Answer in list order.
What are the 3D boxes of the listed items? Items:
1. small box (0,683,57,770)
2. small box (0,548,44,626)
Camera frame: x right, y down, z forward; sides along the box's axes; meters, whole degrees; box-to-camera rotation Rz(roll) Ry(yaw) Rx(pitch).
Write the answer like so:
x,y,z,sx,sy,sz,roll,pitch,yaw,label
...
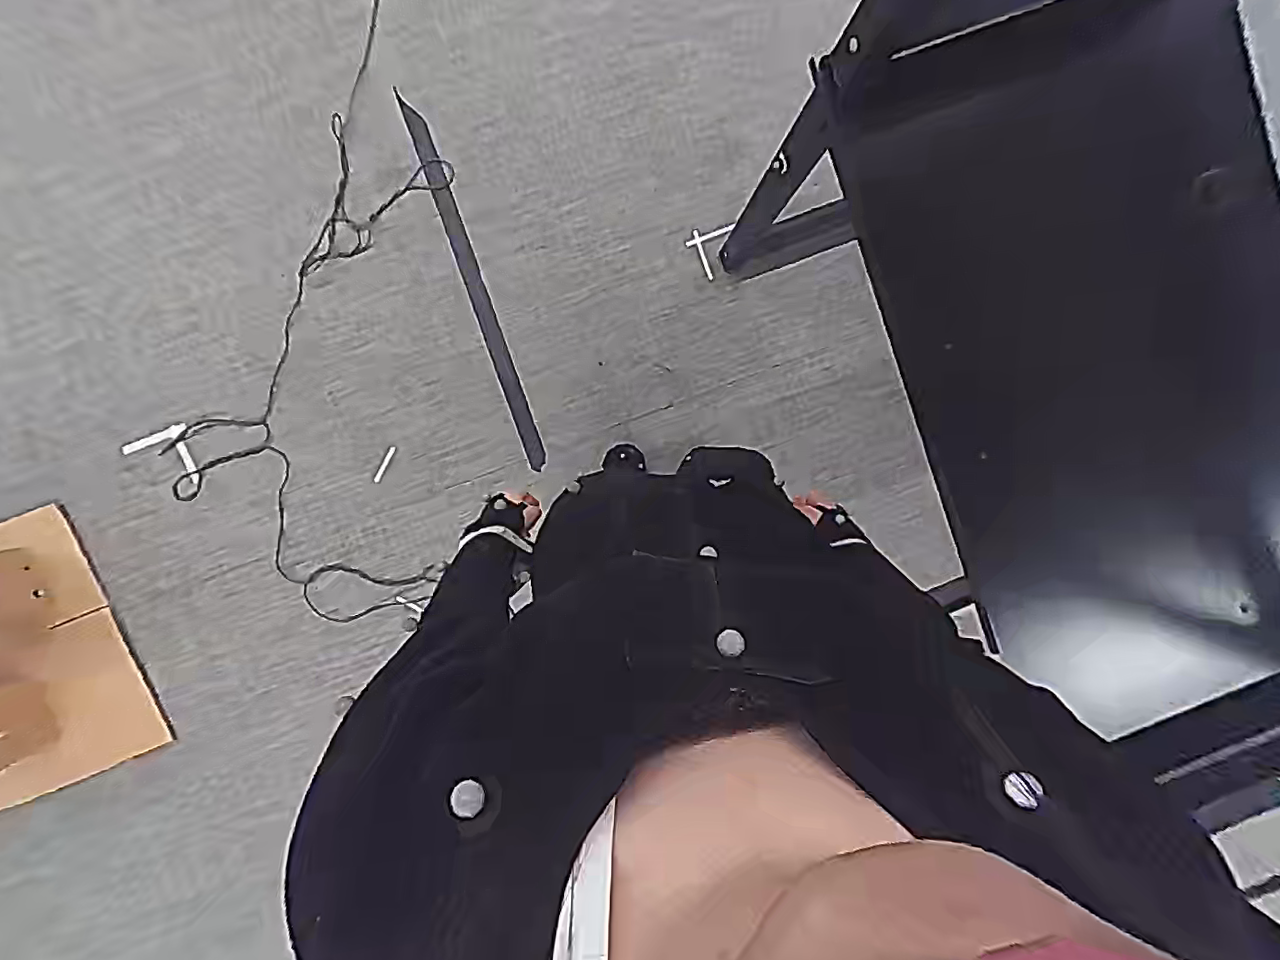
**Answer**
x,y,z,sx,sy,sz,roll,pitch,yaw,label
-1.622,0.625,1.328,0.168,0.176,0.179,-18,96,-2,small box
-1.619,0.282,1.304,0.179,0.176,0.168,-26,95,-1,small box
